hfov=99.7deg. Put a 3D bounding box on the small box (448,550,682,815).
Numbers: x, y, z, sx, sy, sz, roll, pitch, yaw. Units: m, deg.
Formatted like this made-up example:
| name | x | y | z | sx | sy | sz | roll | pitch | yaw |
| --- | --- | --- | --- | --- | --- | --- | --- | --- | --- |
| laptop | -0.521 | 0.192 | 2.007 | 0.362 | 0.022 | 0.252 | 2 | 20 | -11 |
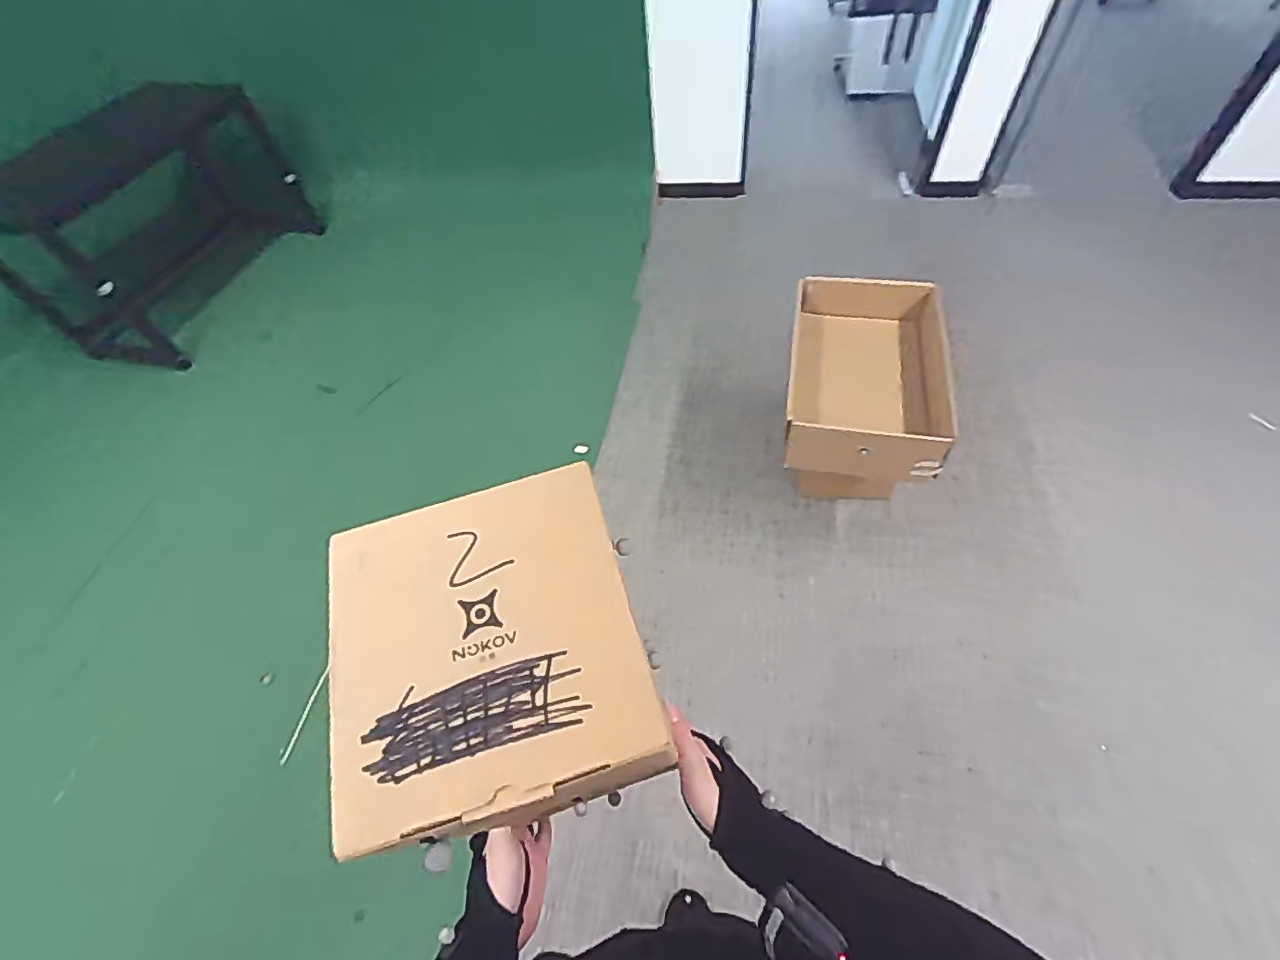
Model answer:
| name | x | y | z | sx | sy | sz | roll | pitch | yaw |
| --- | --- | --- | --- | --- | --- | --- | --- | --- | --- |
| small box | -0.065 | 0.196 | 0.516 | 0.168 | 0.176 | 0.179 | -17 | 61 | -5 |
